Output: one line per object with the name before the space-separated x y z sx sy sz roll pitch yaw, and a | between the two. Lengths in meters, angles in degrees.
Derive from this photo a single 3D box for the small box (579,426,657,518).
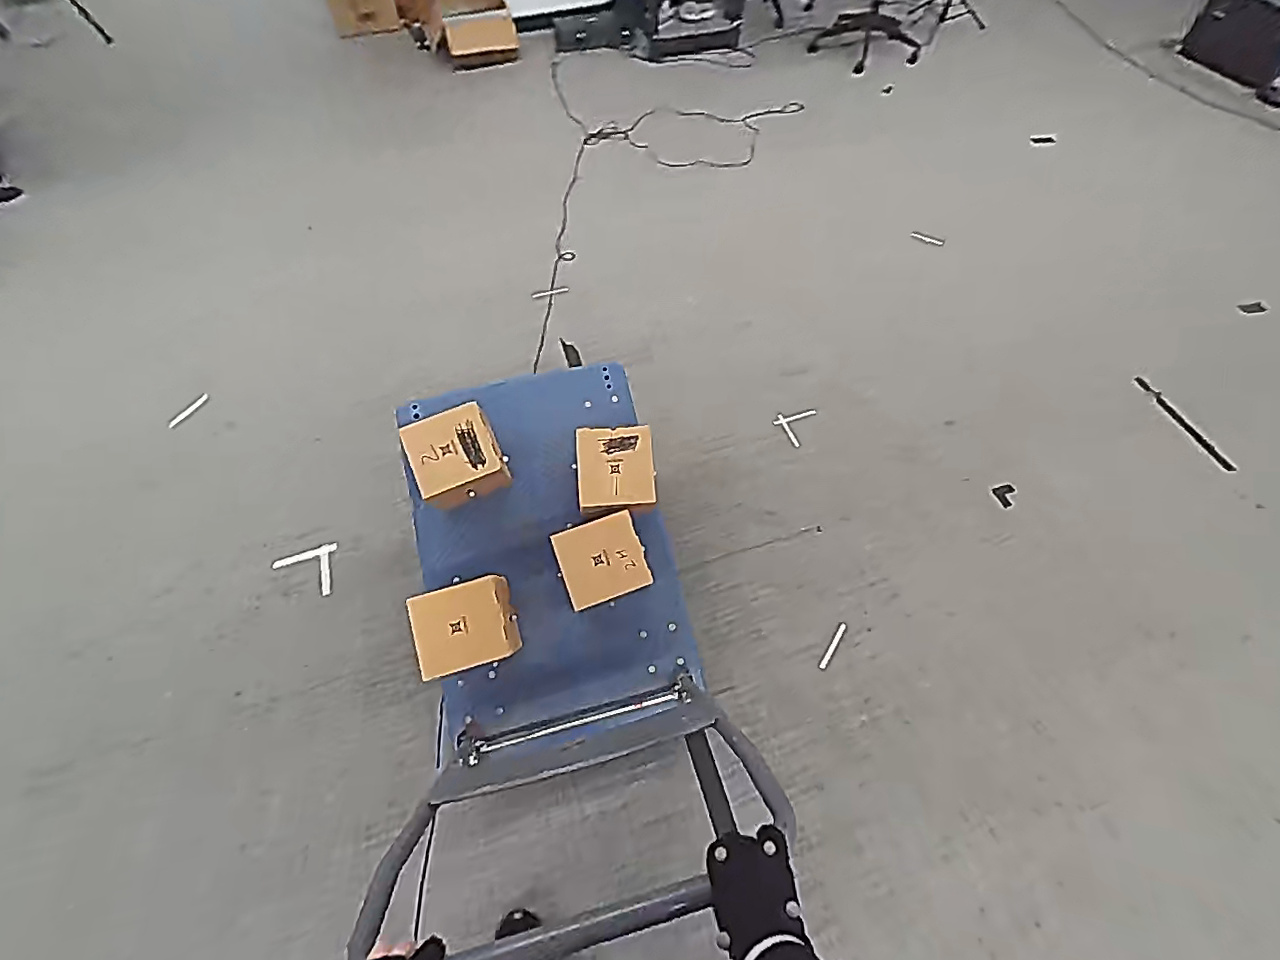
small box | -0.055 -0.014 1.244 0.168 0.176 0.179 -3 79 -5

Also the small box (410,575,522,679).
small box | -0.363 0.310 1.153 0.179 0.176 0.168 -15 80 -9

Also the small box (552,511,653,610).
small box | -0.082 0.182 1.200 0.179 0.176 0.168 -19 80 -8
